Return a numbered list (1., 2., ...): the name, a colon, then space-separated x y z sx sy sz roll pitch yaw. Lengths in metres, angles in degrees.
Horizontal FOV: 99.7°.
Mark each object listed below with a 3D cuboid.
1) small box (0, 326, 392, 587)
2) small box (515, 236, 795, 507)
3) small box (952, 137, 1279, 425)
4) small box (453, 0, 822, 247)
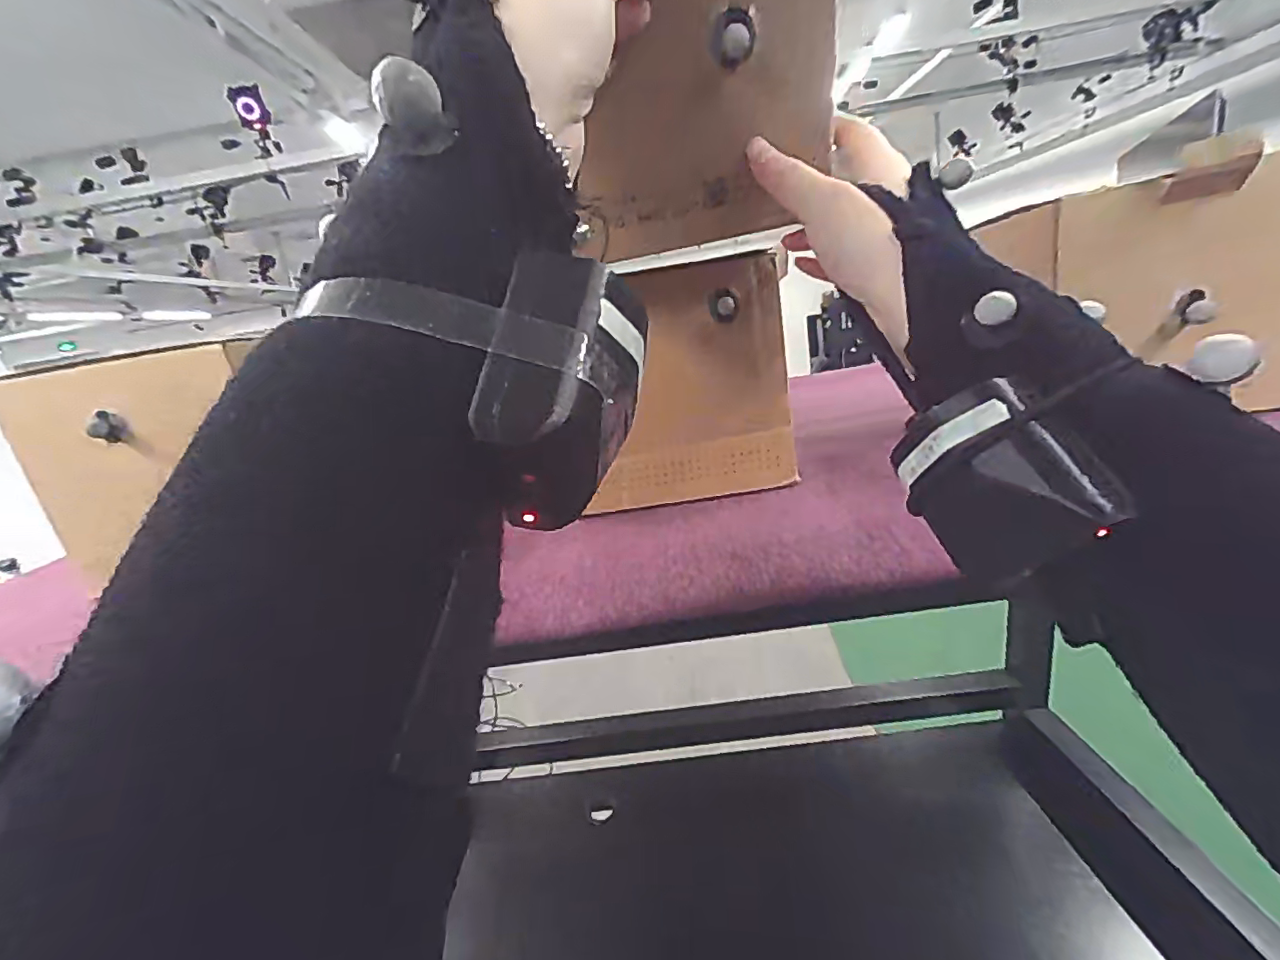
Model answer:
1. small box: -0.341 -0.026 0.447 0.179 0.176 0.168 -9 18 3
2. small box: 0.017 -0.084 0.447 0.179 0.176 0.168 -9 15 3
3. small box: 0.373 -0.145 0.429 0.168 0.176 0.179 -8 15 10
4. small box: 0.004 -0.249 0.310 0.168 0.176 0.179 -8 41 7
